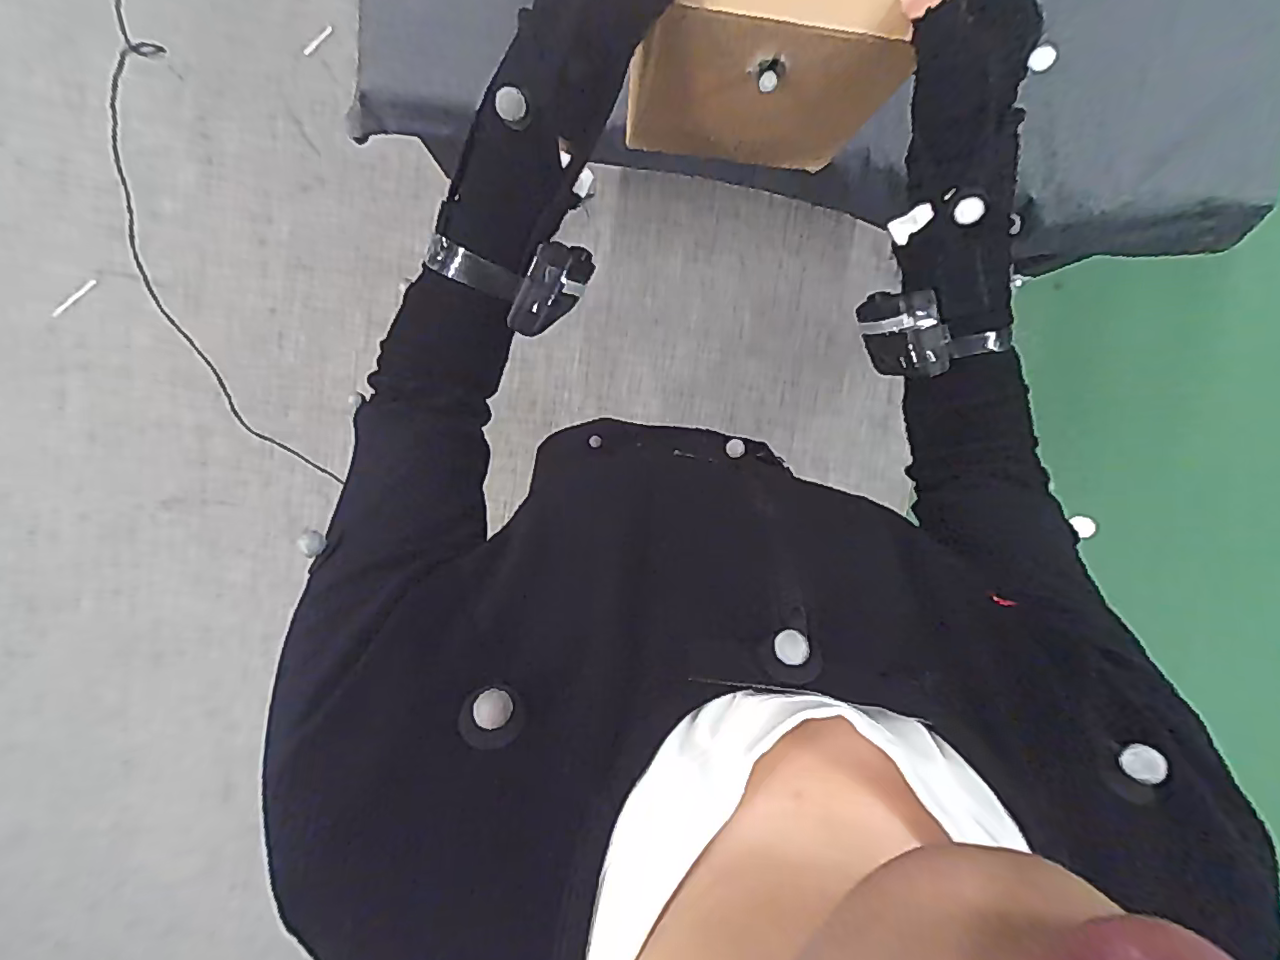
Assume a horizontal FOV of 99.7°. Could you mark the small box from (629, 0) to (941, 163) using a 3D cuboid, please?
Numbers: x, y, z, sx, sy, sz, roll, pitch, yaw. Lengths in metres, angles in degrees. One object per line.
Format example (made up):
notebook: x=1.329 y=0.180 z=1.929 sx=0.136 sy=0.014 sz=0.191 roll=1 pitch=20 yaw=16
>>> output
small box: x=0.088 y=-0.356 z=0.387 sx=0.179 sy=0.176 sz=0.168 roll=3 pitch=96 yaw=-8
